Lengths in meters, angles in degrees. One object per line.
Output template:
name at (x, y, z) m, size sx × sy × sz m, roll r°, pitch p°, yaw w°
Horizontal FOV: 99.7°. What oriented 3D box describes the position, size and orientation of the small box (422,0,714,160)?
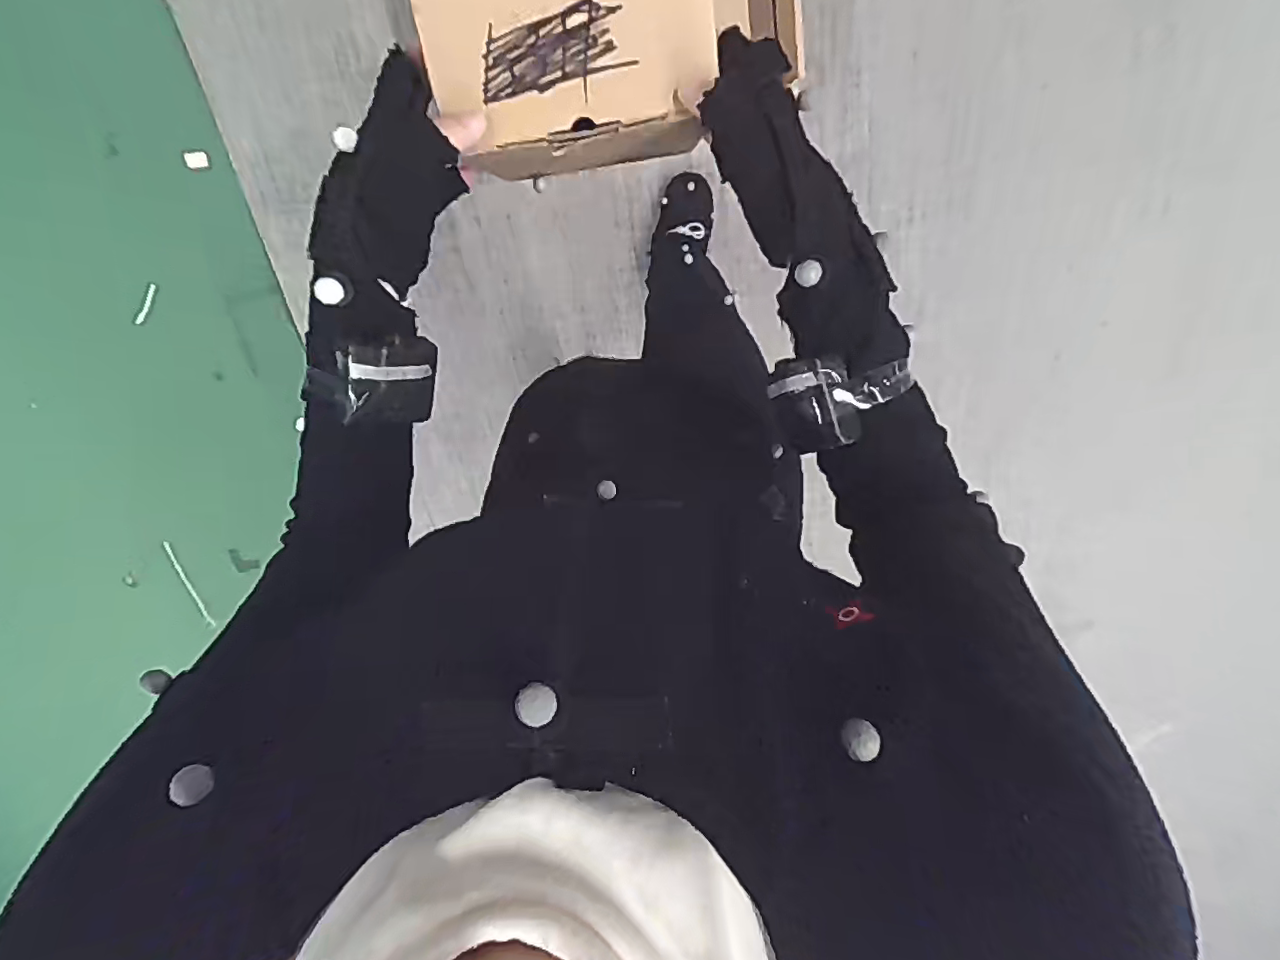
small box at (-0.045, -0.331, 0.367) m, size 0.168 × 0.176 × 0.179 m, roll -8°, pitch 114°, yaw 4°
